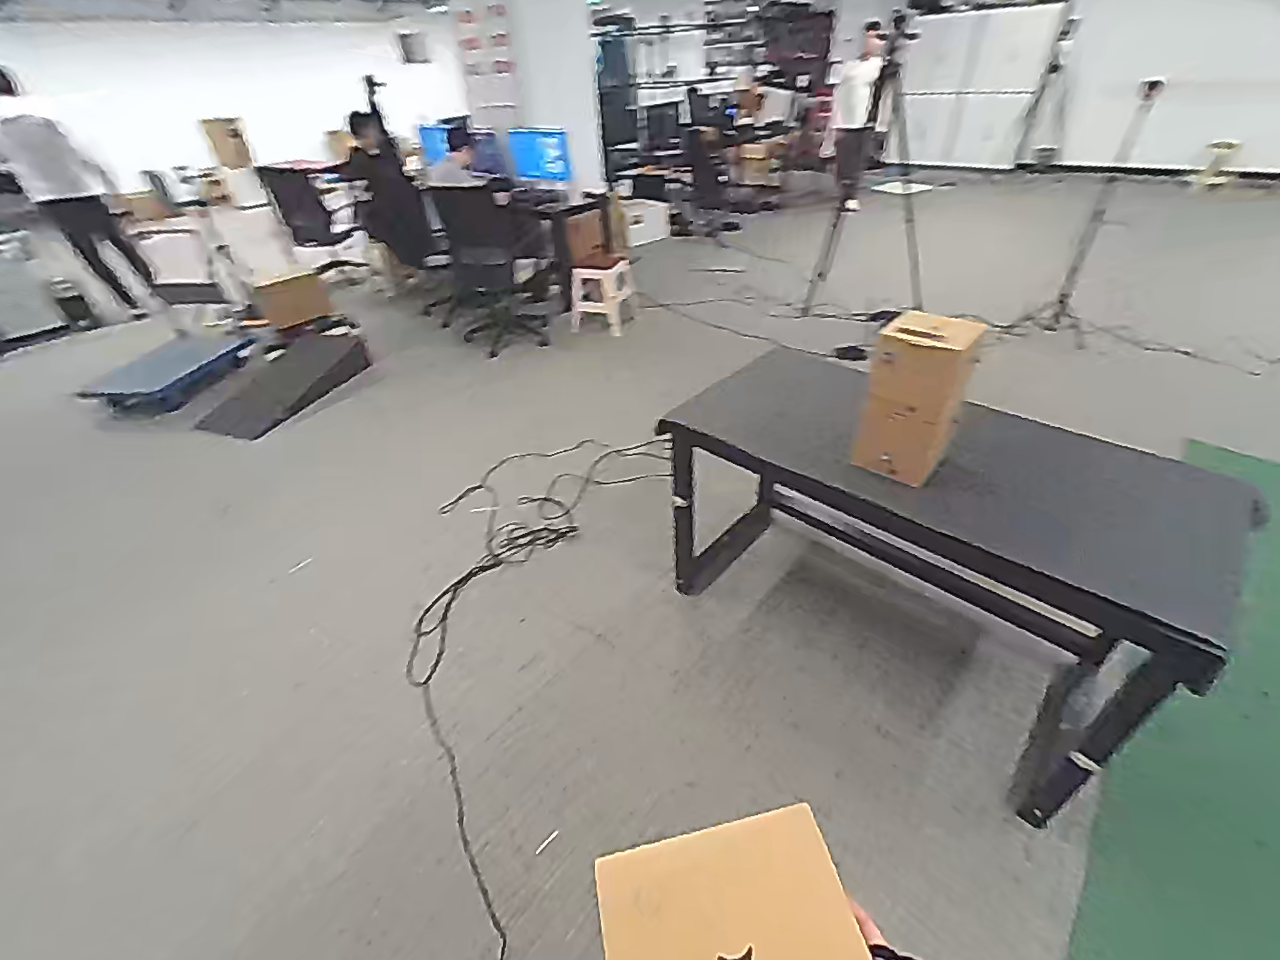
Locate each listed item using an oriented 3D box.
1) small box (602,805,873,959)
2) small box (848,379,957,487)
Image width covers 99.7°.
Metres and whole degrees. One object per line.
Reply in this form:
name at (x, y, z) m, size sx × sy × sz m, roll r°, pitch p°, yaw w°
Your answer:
small box at (0.071, 0.372, 0.385) m, size 0.168 × 0.176 × 0.179 m, roll -11°, pitch 39°, yaw -5°
small box at (0.616, -0.114, 1.284) m, size 0.168 × 0.176 × 0.179 m, roll 27°, pitch 46°, yaw 34°
